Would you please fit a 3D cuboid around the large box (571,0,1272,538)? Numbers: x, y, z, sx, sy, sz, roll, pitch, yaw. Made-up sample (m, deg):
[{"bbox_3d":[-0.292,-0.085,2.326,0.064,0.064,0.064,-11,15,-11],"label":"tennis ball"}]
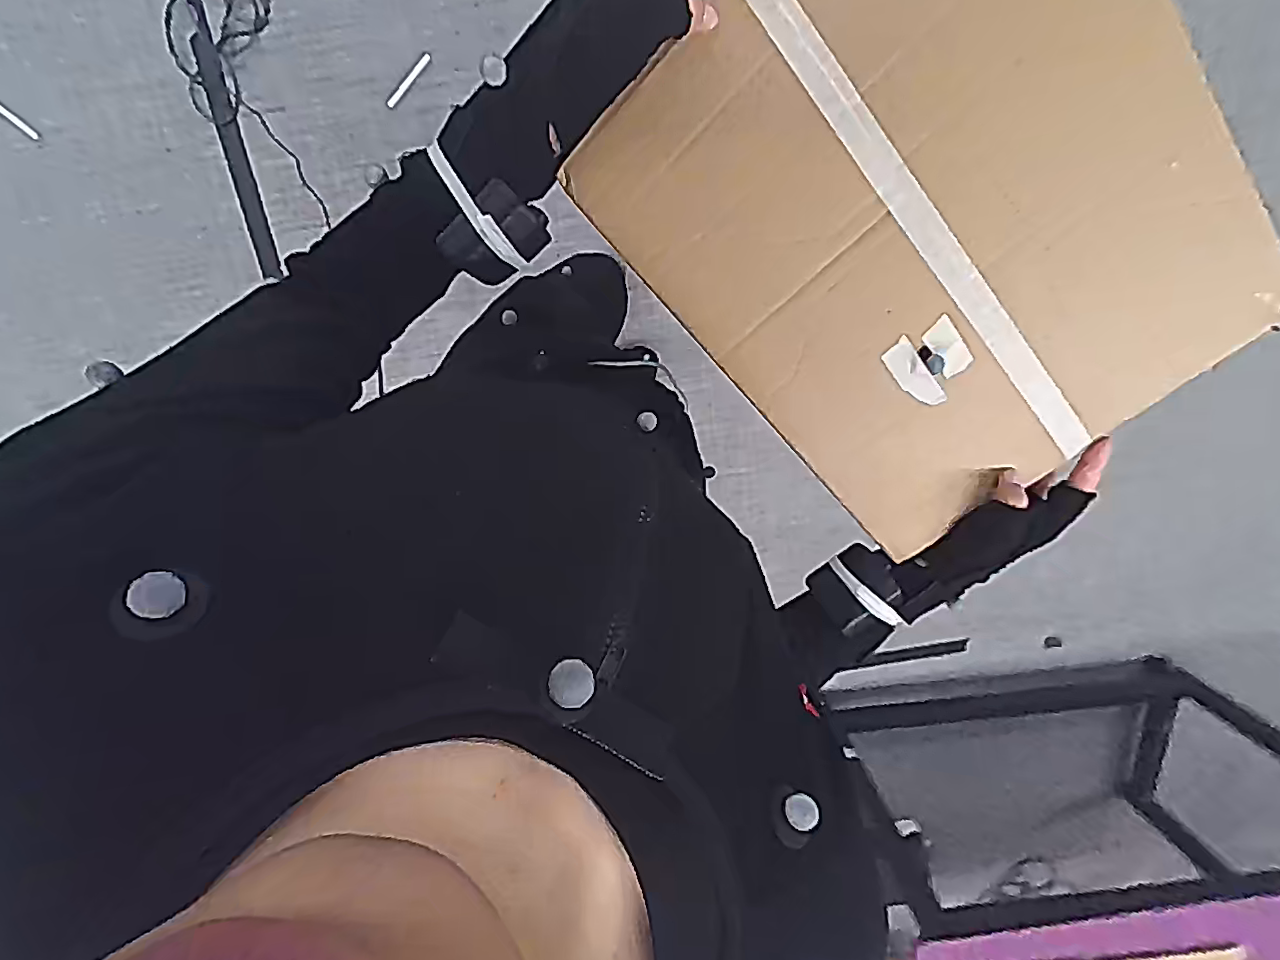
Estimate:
[{"bbox_3d":[0.201,-0.233,0.505,0.320,0.320,0.408,-40,108,20],"label":"large box"}]
